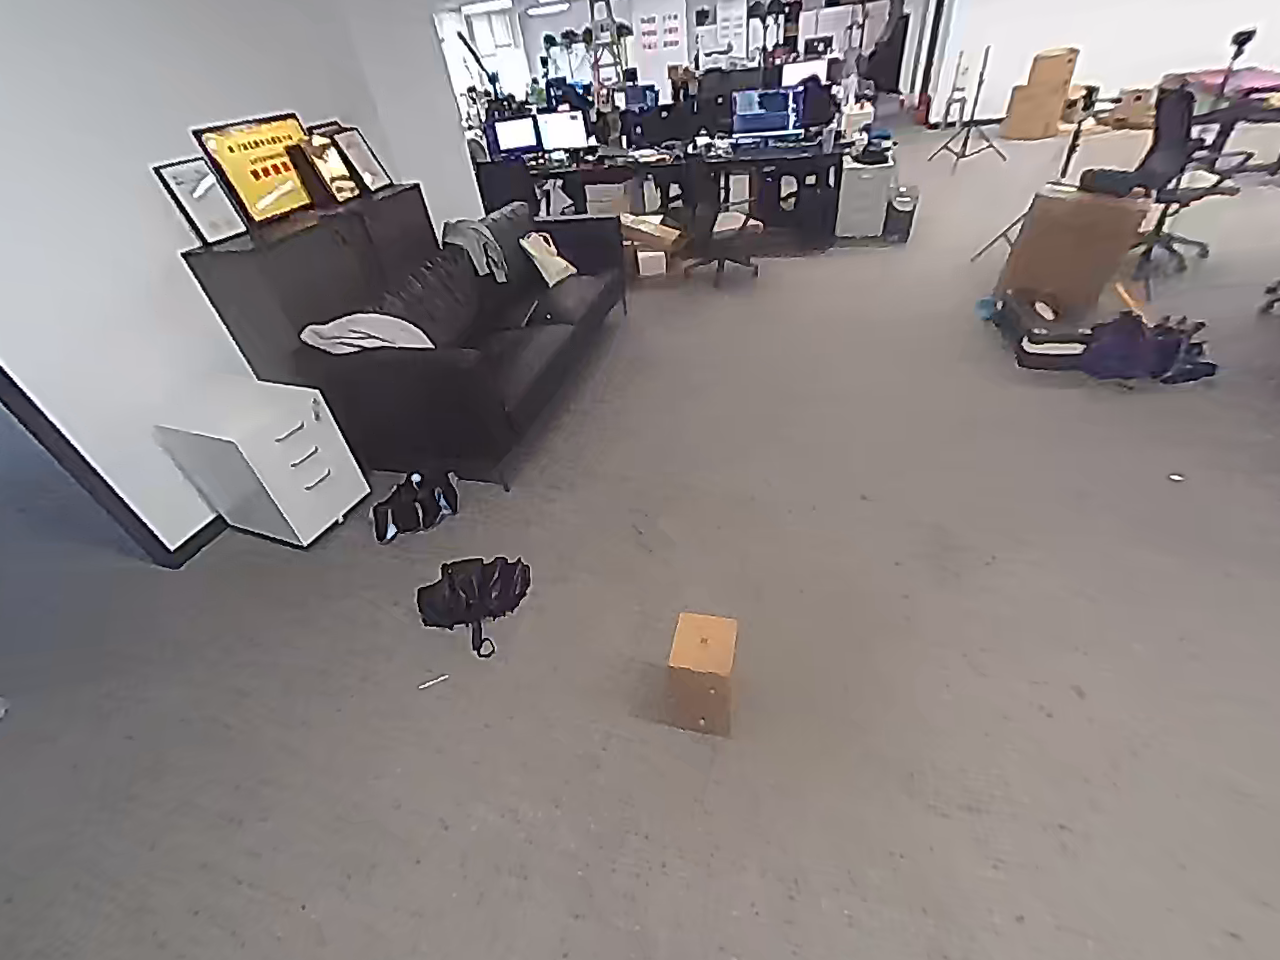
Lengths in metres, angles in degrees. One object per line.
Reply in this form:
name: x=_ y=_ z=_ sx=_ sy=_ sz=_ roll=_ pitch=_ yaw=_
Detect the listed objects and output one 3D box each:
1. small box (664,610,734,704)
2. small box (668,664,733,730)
small box: x=0.168 y=0.488 z=1.487 sx=0.168 sy=0.176 sz=0.179 roll=5 pitch=40 yaw=14
small box: x=0.185 y=0.610 z=1.594 sx=0.168 sy=0.176 sz=0.179 roll=4 pitch=42 yaw=14
